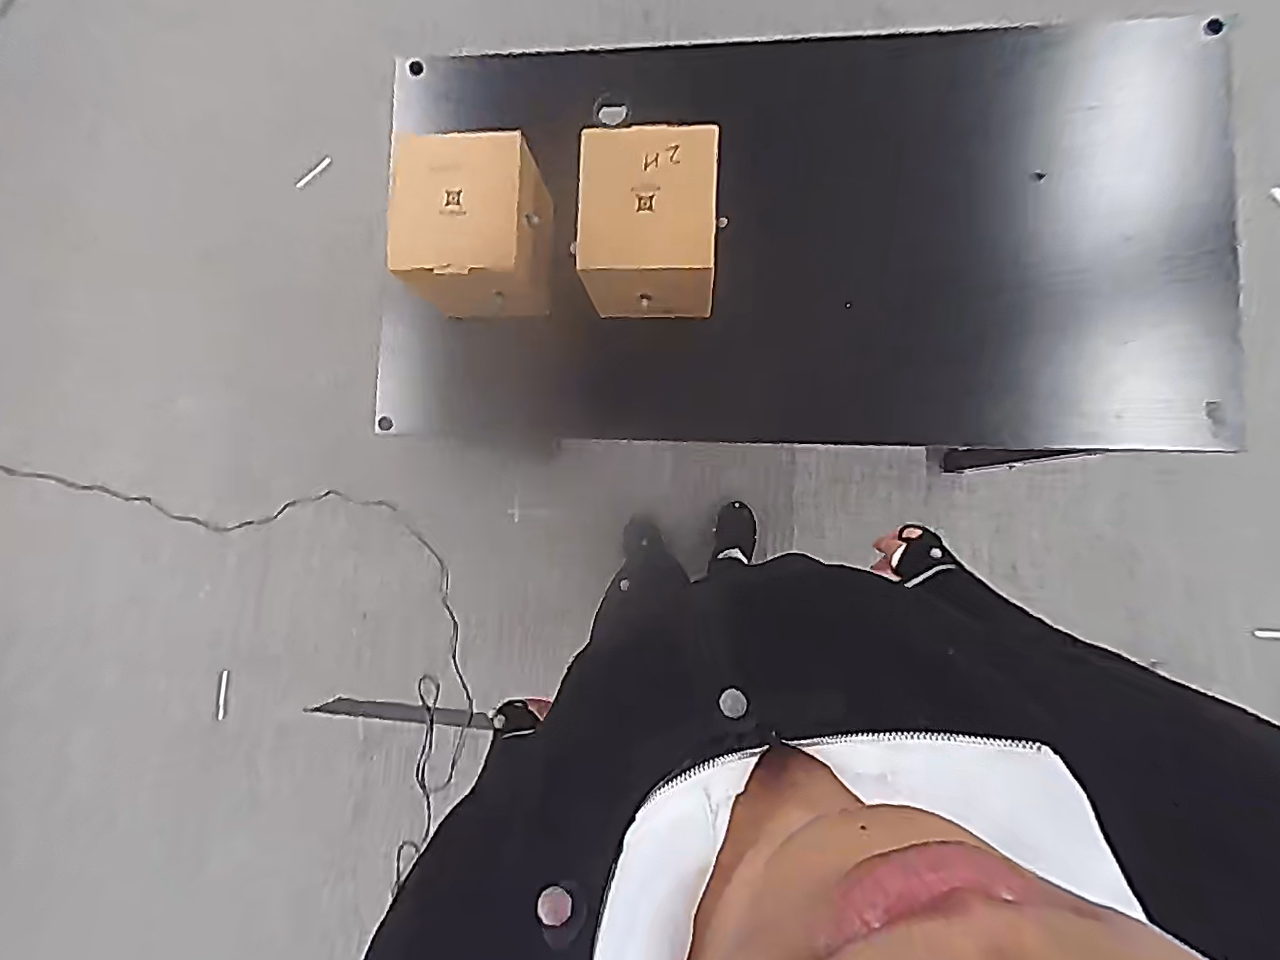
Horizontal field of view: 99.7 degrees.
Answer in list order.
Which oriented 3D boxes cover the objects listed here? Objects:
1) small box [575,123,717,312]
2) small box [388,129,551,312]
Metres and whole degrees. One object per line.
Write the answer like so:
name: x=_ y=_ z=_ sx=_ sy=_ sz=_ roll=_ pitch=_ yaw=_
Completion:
small box: x=0.015 y=-0.334 z=0.721 sx=0.168 sy=0.176 sz=0.179 roll=2 pitch=87 yaw=5
small box: x=-0.224 y=-0.343 z=0.748 sx=0.168 sy=0.176 sz=0.179 roll=1 pitch=86 yaw=4
